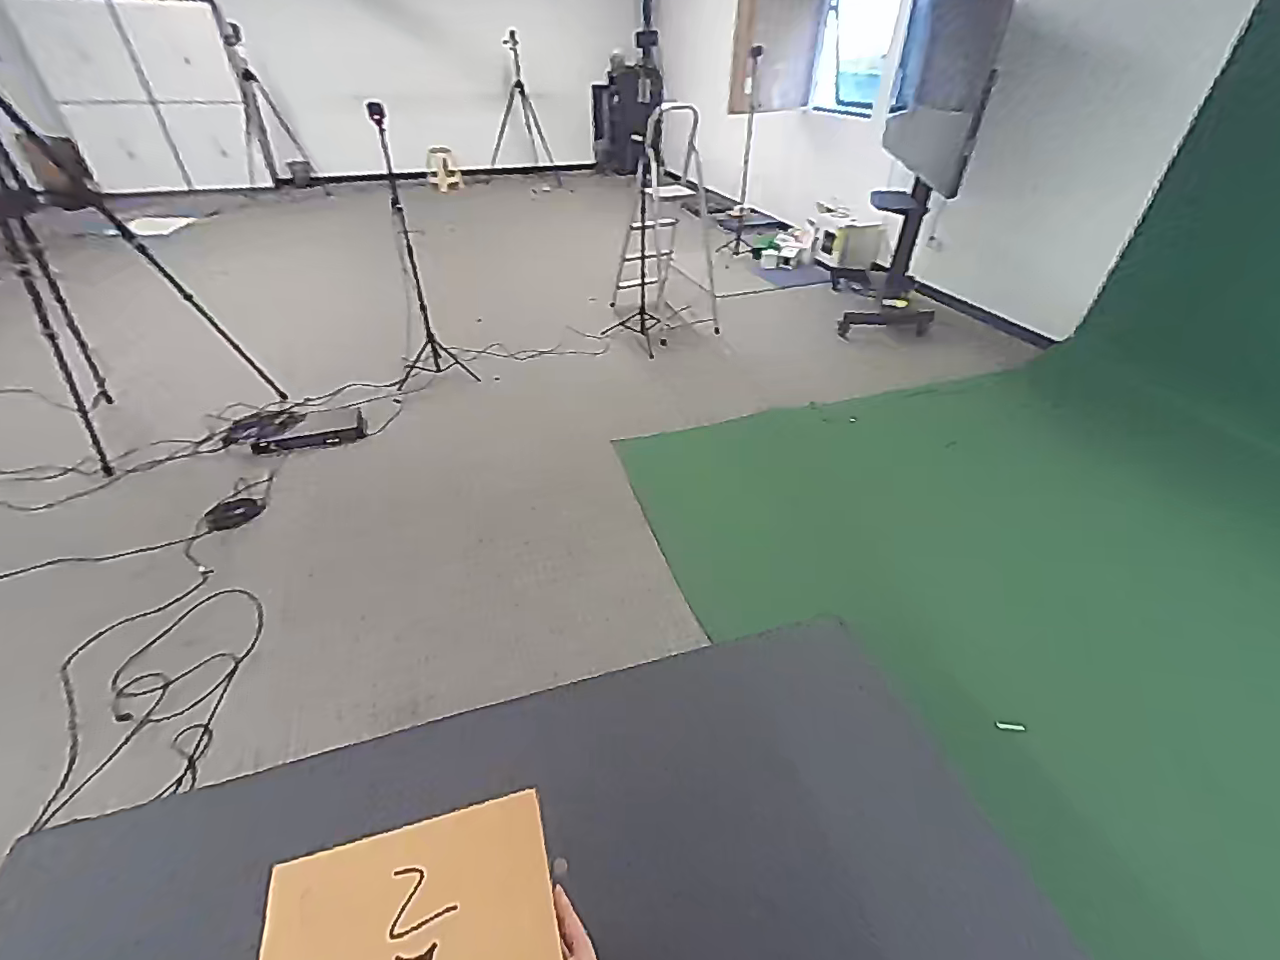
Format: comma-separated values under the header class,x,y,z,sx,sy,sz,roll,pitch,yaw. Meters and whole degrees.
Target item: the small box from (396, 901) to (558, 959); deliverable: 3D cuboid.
class,x,y,z,sx,sy,sz,roll,pitch,yaw
small box,-0.143,0.536,0.487,0.168,0.176,0.179,-13,40,-16
